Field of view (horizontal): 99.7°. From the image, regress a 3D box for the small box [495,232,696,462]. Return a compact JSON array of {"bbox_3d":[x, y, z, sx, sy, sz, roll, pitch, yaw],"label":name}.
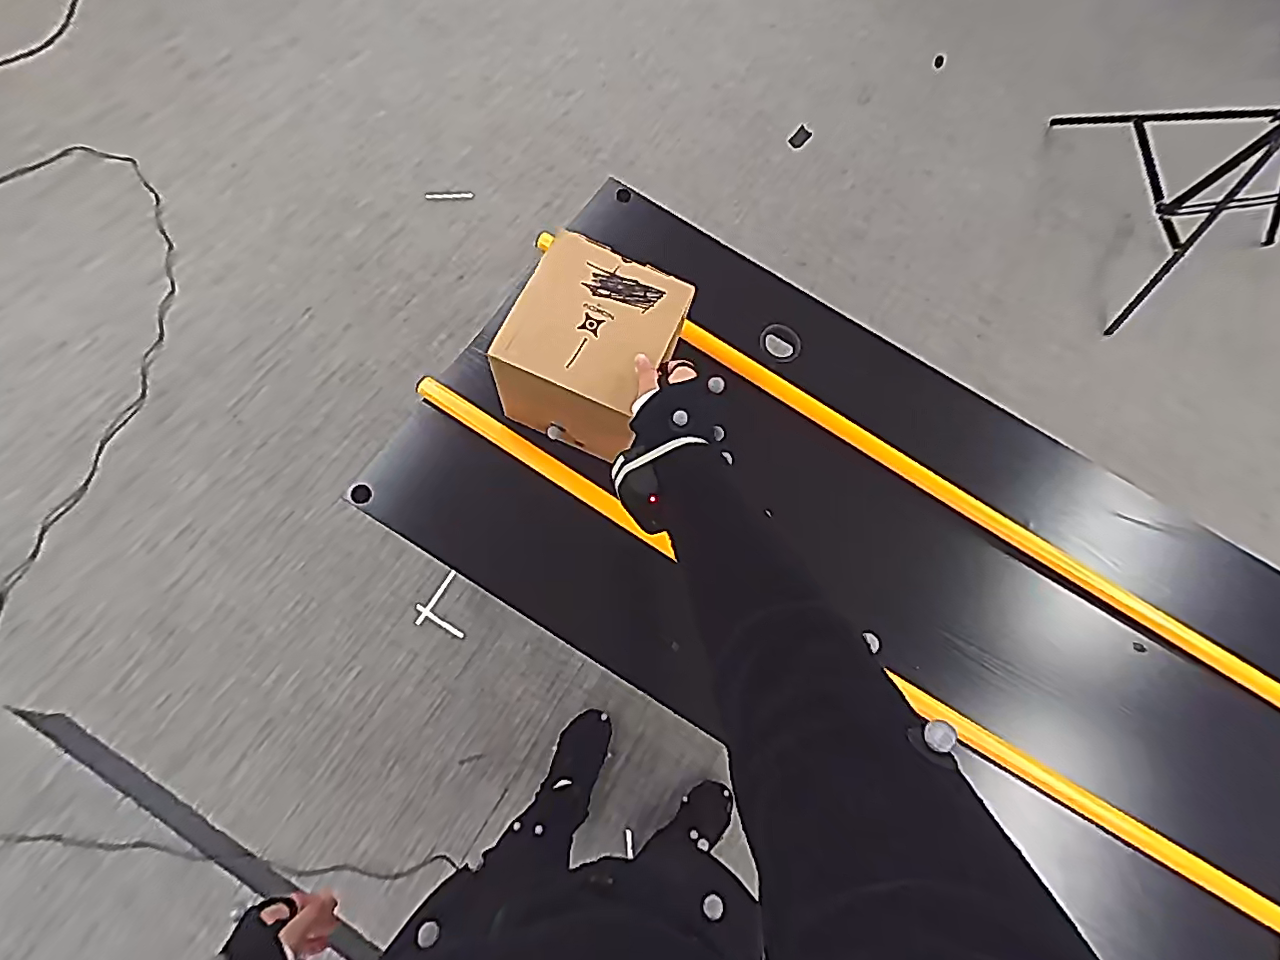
[{"bbox_3d":[-0.053,-0.147,0.650,0.168,0.176,0.179,24,73,1],"label":"small box"}]
